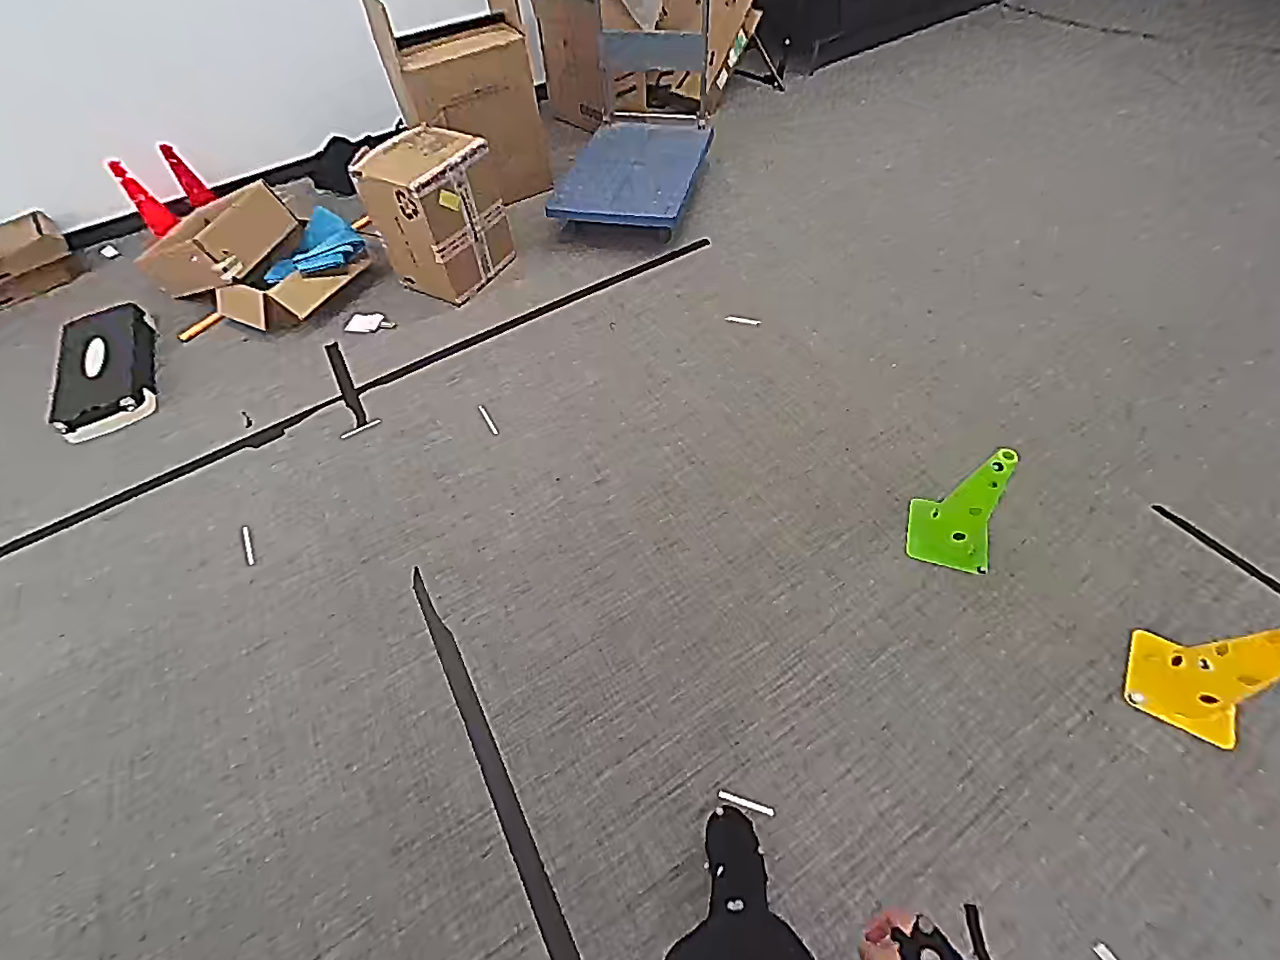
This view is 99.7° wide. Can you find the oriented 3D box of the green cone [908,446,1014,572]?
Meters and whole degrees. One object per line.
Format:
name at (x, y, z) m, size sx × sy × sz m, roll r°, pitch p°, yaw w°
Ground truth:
green cone at (0.826, 0.043, 1.335) m, size 0.202 × 0.368 × 0.200 m, roll 12°, pitch 56°, yaw 15°
